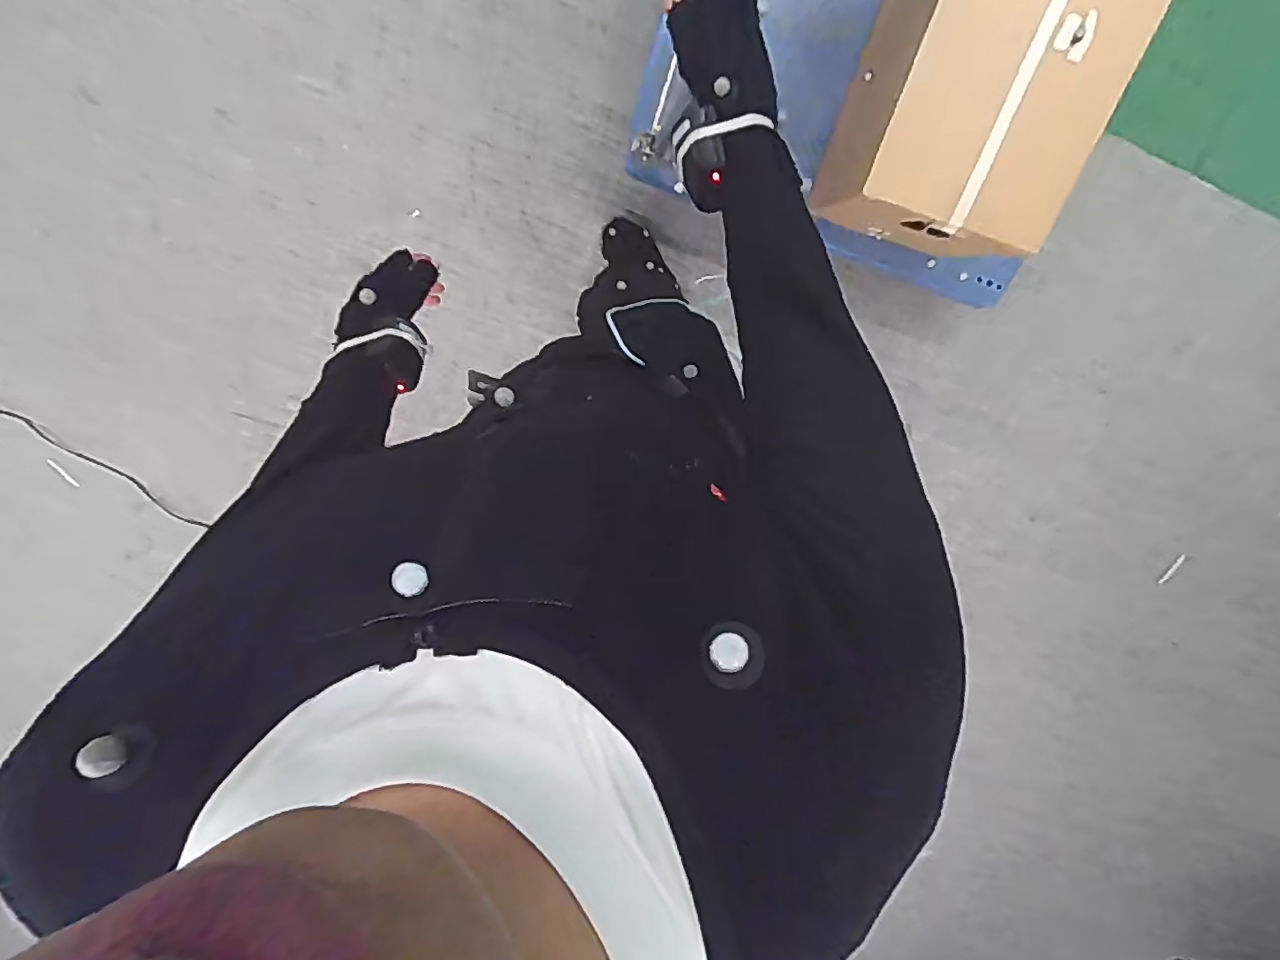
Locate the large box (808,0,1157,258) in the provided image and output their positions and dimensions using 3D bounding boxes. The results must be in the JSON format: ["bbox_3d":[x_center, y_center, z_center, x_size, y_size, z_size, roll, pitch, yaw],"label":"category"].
[{"bbox_3d":[0.542,-0.636,0.934,0.320,0.320,0.408,16,110,-7],"label":"large box"}]
